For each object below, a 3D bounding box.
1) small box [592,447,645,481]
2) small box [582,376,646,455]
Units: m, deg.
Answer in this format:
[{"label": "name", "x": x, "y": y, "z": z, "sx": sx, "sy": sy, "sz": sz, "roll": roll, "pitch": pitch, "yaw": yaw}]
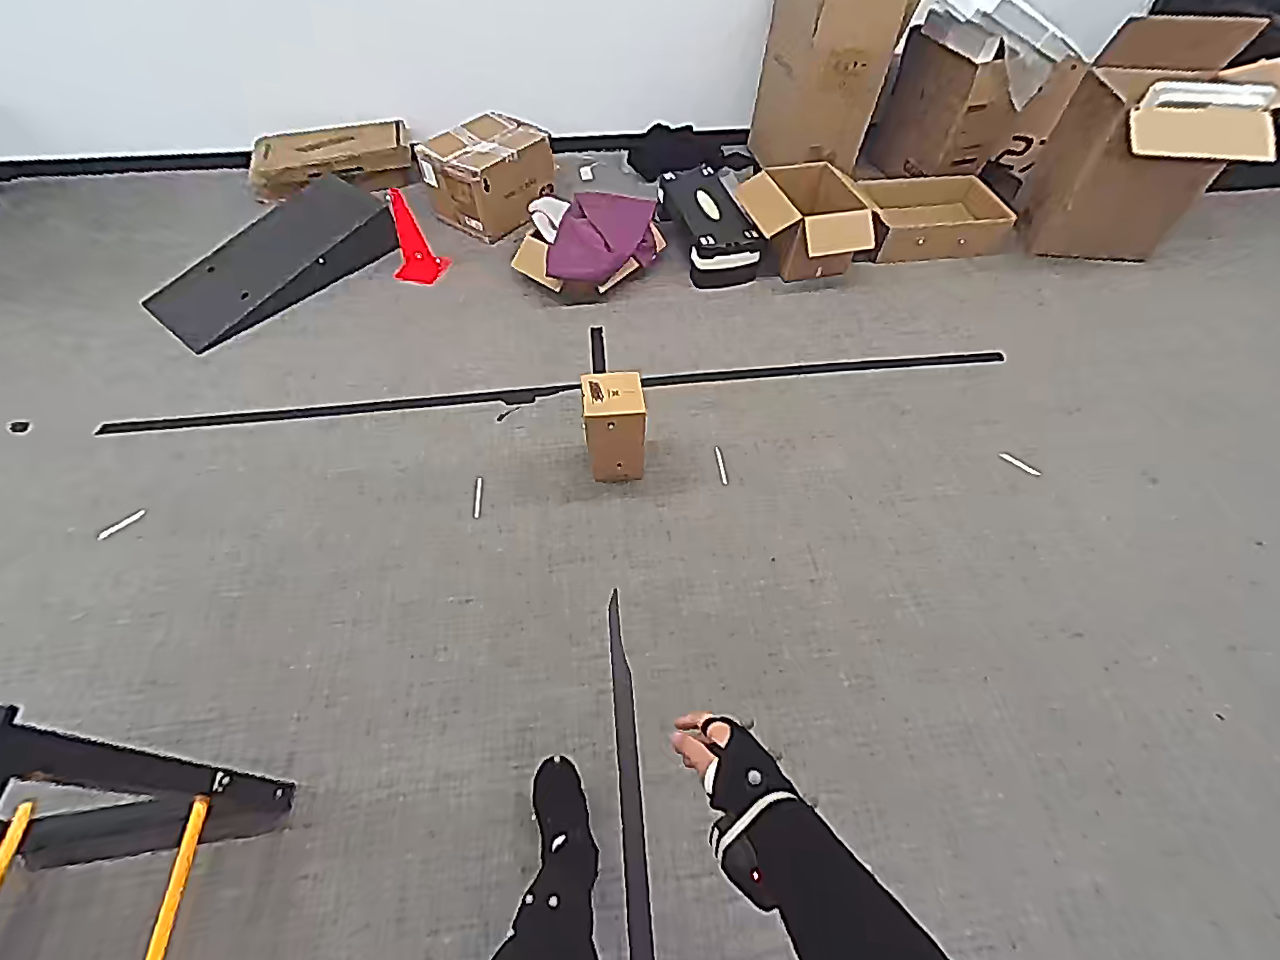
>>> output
[{"label": "small box", "x": -0.070, "y": -0.107, "z": 1.759, "sx": 0.168, "sy": 0.176, "sz": 0.179, "roll": -4, "pitch": 56, "yaw": -3}, {"label": "small box", "x": -0.077, "y": -0.189, "z": 1.614, "sx": 0.179, "sy": 0.176, "sz": 0.168, "roll": -5, "pitch": 55, "yaw": -5}]
